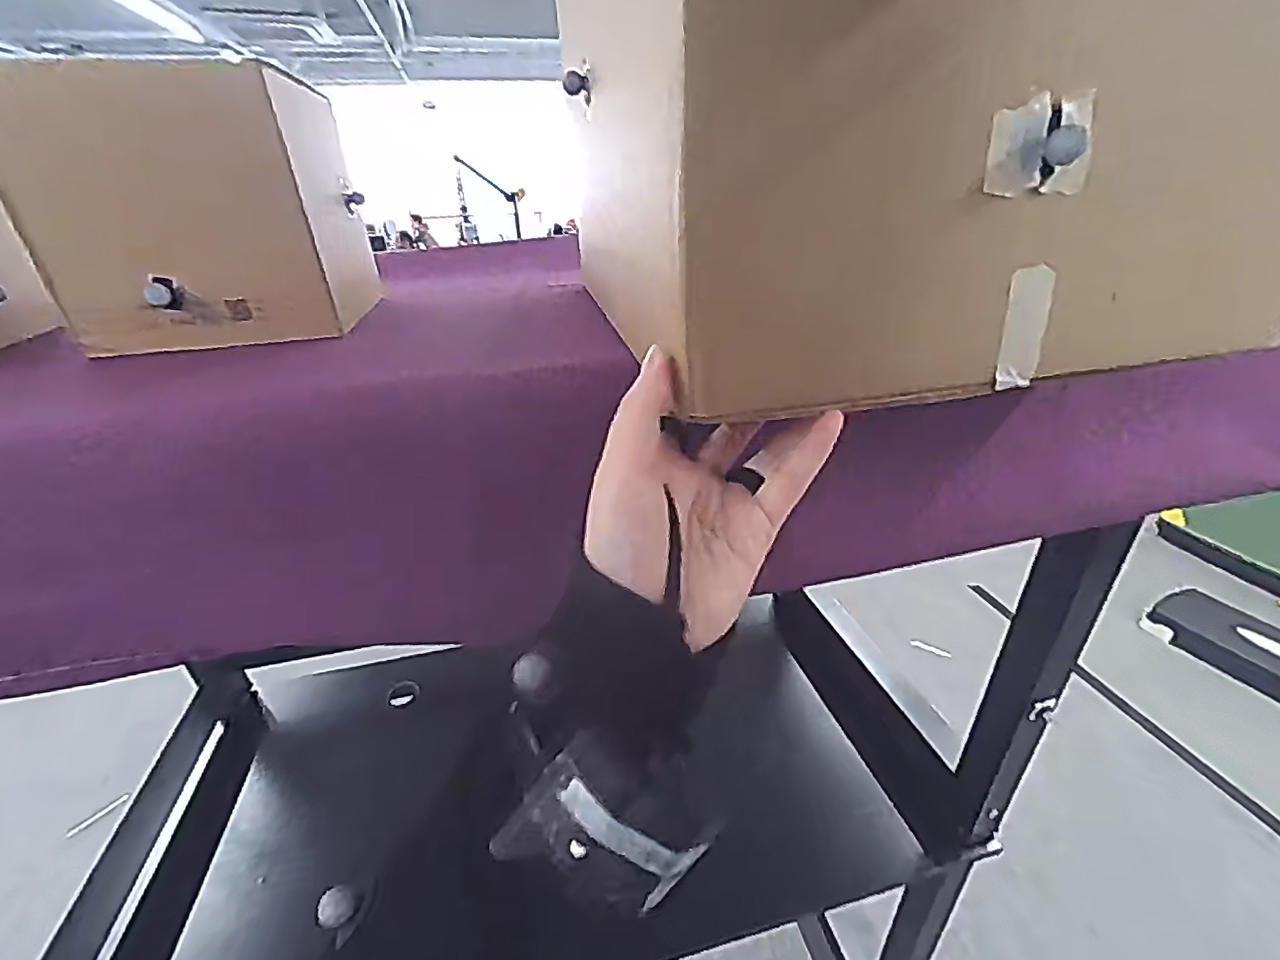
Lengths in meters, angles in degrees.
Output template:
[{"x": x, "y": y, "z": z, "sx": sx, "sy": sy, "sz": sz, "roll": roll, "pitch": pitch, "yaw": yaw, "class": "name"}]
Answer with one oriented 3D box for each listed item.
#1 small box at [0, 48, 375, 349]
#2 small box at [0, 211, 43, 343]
[{"x": -0.320, "y": -0.205, "z": 0.412, "sx": 0.168, "sy": 0.176, "sz": 0.179, "roll": -9, "pitch": 29, "yaw": -10, "class": "small box"}, {"x": -0.548, "y": -0.155, "z": 0.337, "sx": 0.168, "sy": 0.176, "sz": 0.179, "roll": -13, "pitch": 29, "yaw": -17, "class": "small box"}]
